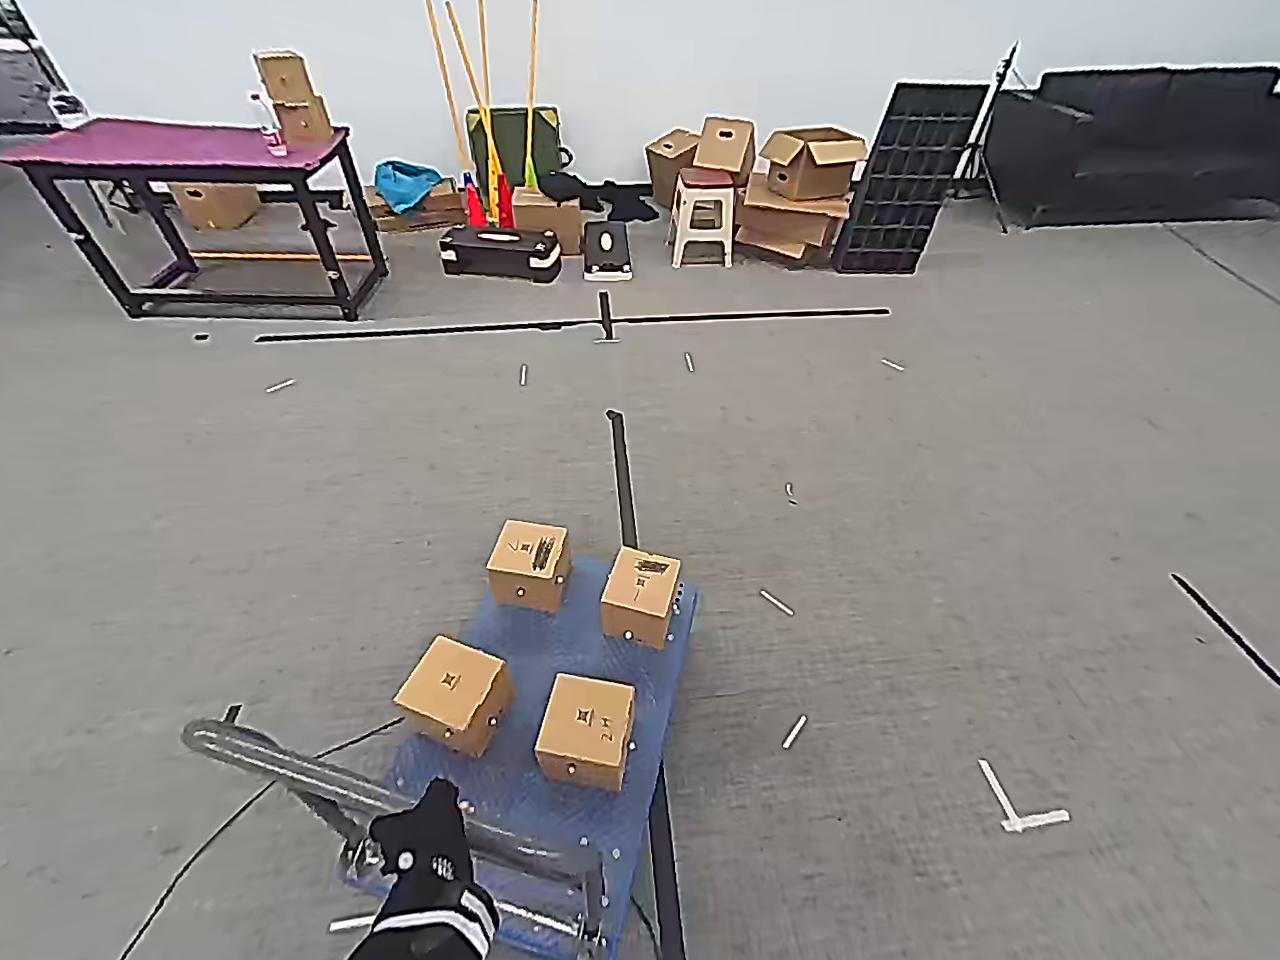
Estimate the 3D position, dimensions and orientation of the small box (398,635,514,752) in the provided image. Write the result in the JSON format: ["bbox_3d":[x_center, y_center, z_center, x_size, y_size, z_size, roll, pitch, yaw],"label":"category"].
[{"bbox_3d":[-0.406,0.487,1.226,0.179,0.176,0.168,17,47,12],"label":"small box"}]

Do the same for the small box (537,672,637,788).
[{"bbox_3d":[-0.108,0.546,1.177,0.179,0.176,0.168,9,46,7],"label":"small box"}]

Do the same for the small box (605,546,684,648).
[{"bbox_3d":[0.011,0.307,1.417,0.168,0.176,0.179,13,48,10],"label":"small box"}]
